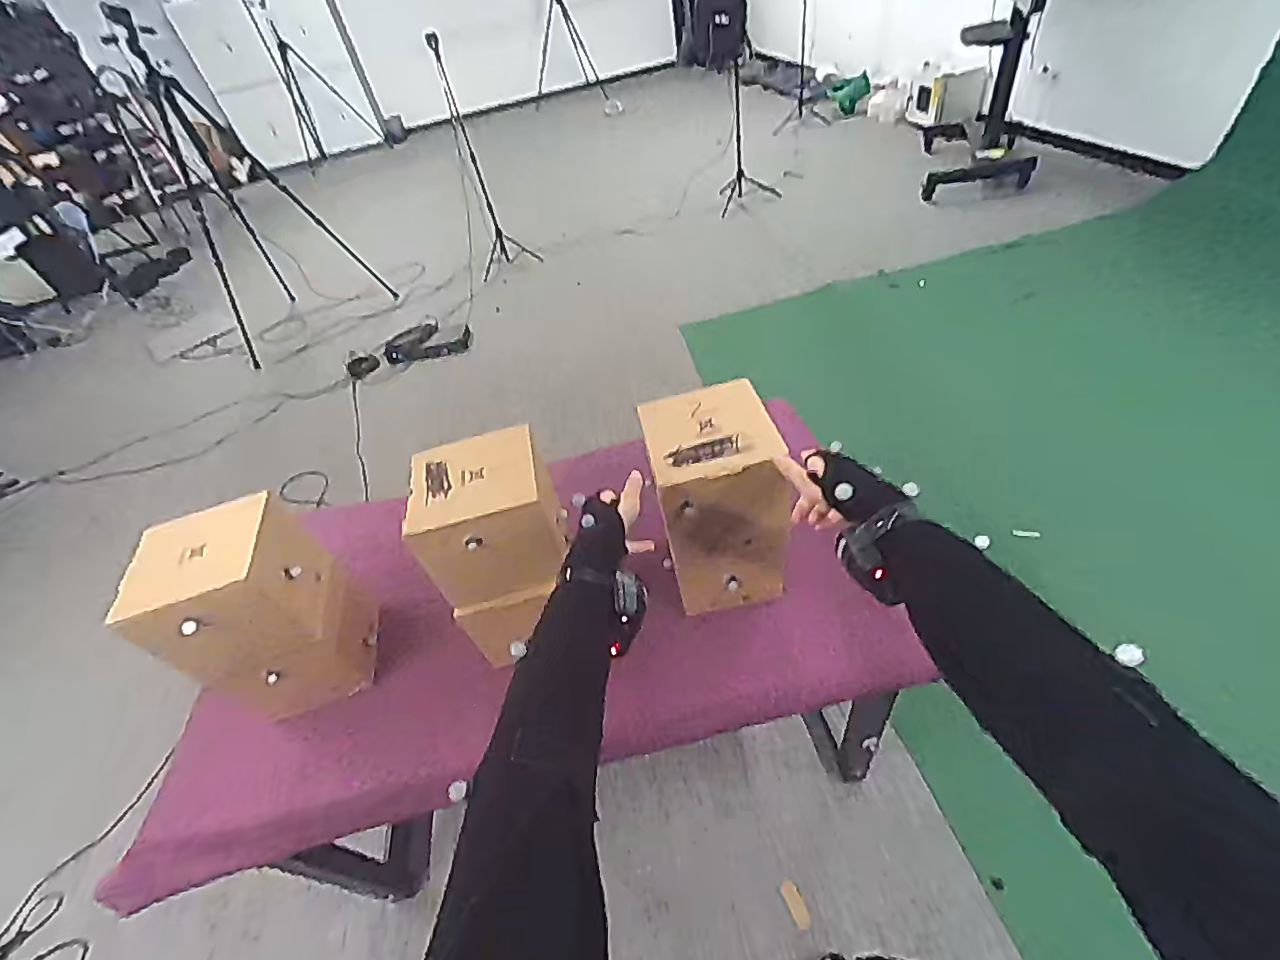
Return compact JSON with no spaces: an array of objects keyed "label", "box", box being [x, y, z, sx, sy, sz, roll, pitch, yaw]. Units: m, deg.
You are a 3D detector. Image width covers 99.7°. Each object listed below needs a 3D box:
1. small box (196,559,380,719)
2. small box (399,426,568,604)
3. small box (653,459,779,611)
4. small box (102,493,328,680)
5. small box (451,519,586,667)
[{"label":"small box","box":[-0.559,0.264,0.887,0.179,0.176,0.168,-18,45,-5]},{"label":"small box","box":[-0.216,0.054,0.779,0.179,0.176,0.168,-15,44,-3]},{"label":"small box","box":[0.126,0.097,0.890,0.168,0.176,0.179,-13,45,1]},{"label":"small box","box":[-0.579,0.153,0.771,0.179,0.176,0.168,-20,46,-6]},{"label":"small box","box":[-0.191,0.176,0.887,0.168,0.176,0.179,-14,45,0]}]
